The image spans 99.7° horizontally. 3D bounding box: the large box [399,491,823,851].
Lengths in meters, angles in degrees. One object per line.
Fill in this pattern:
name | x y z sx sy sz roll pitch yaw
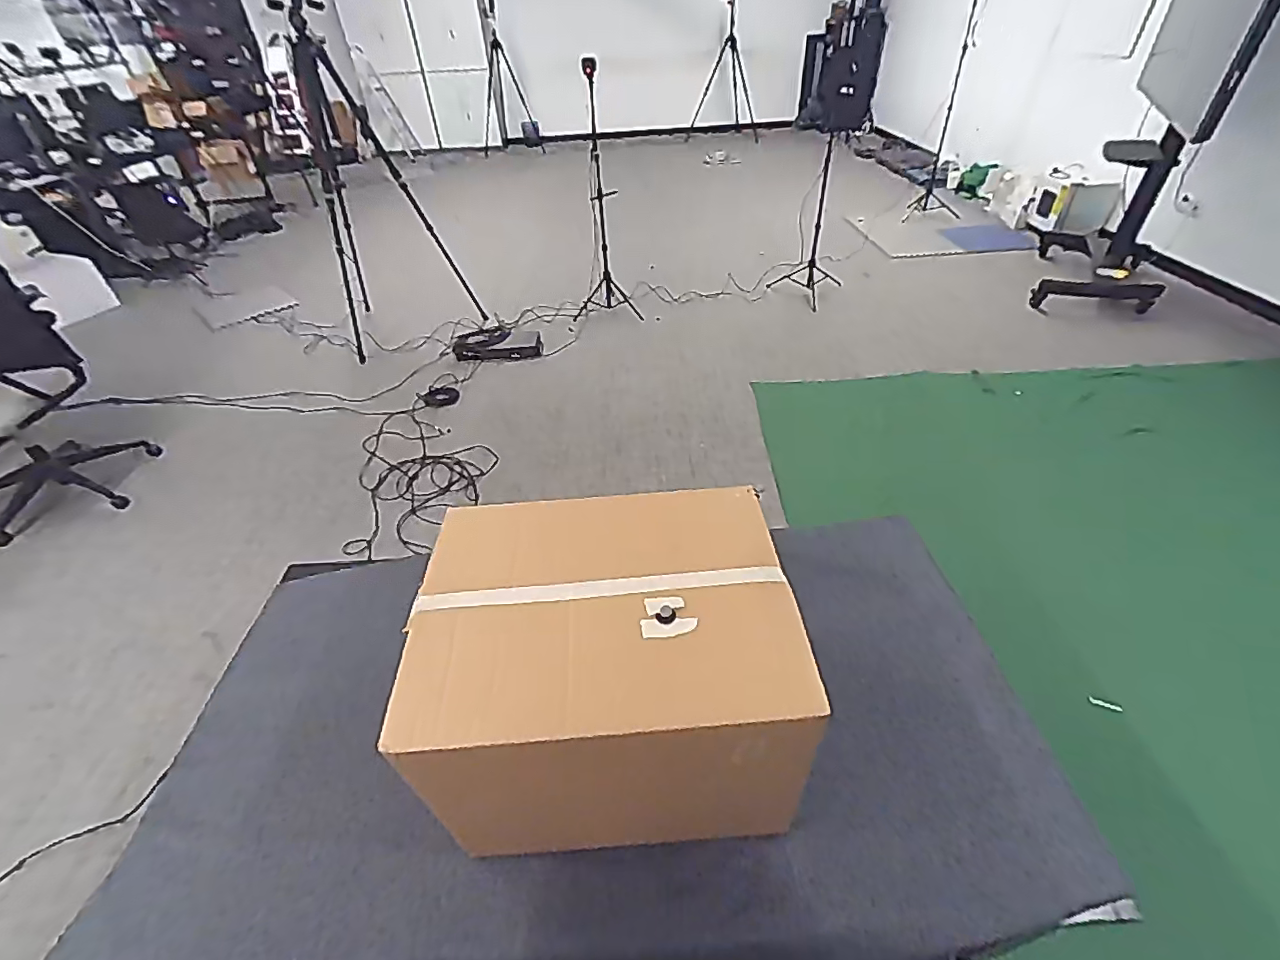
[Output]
large box | -0.031 0.242 0.705 0.408 0.320 0.320 -4 41 -2
